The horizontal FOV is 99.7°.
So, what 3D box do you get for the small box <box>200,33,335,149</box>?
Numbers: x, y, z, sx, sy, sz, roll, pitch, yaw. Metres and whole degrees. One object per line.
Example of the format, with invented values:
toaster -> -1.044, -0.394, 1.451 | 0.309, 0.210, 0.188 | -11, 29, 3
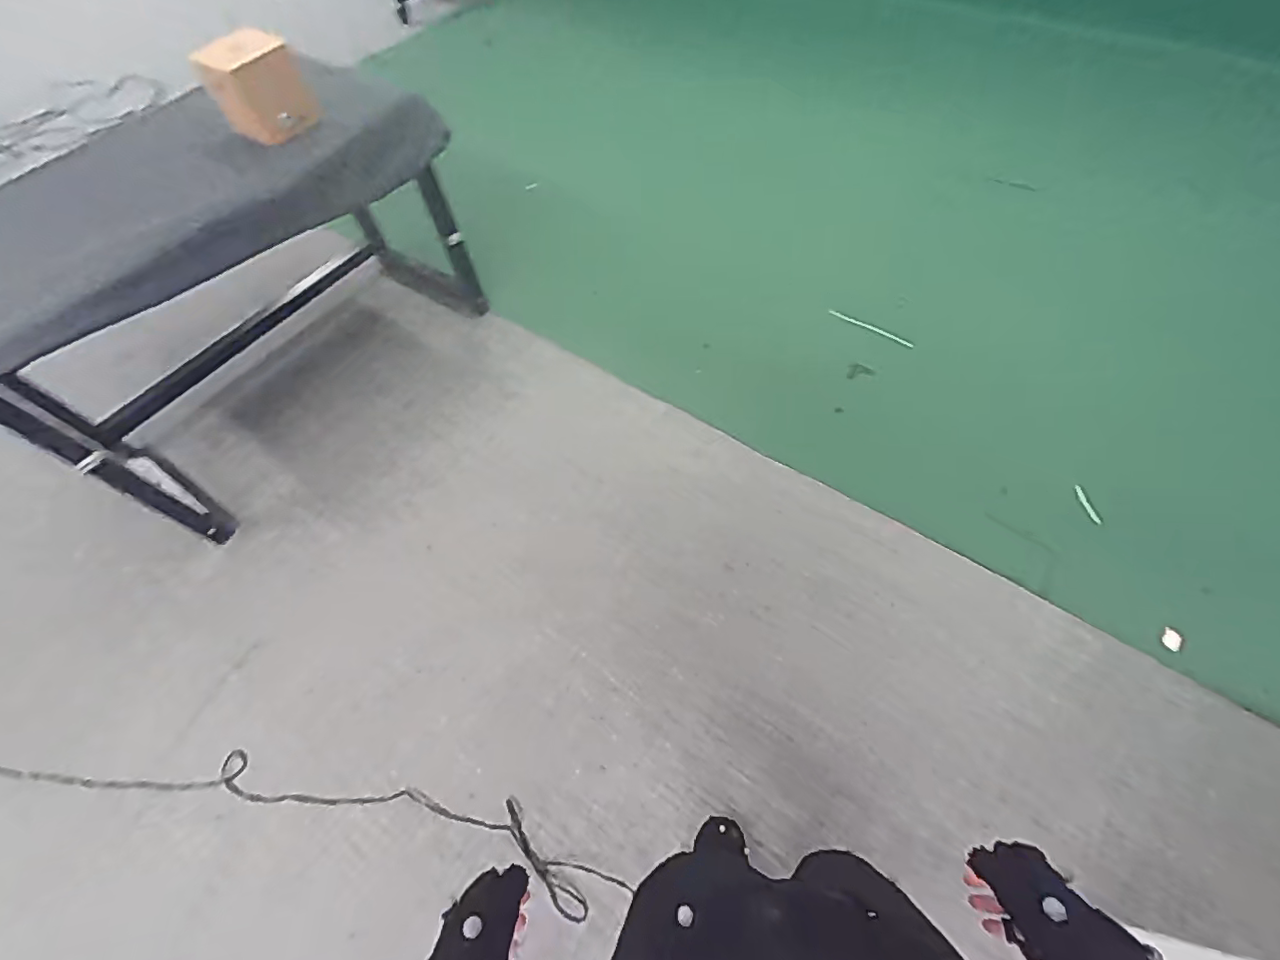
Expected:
small box -> -0.903, -0.948, 1.325 | 0.179, 0.176, 0.168 | 31, 68, 20
